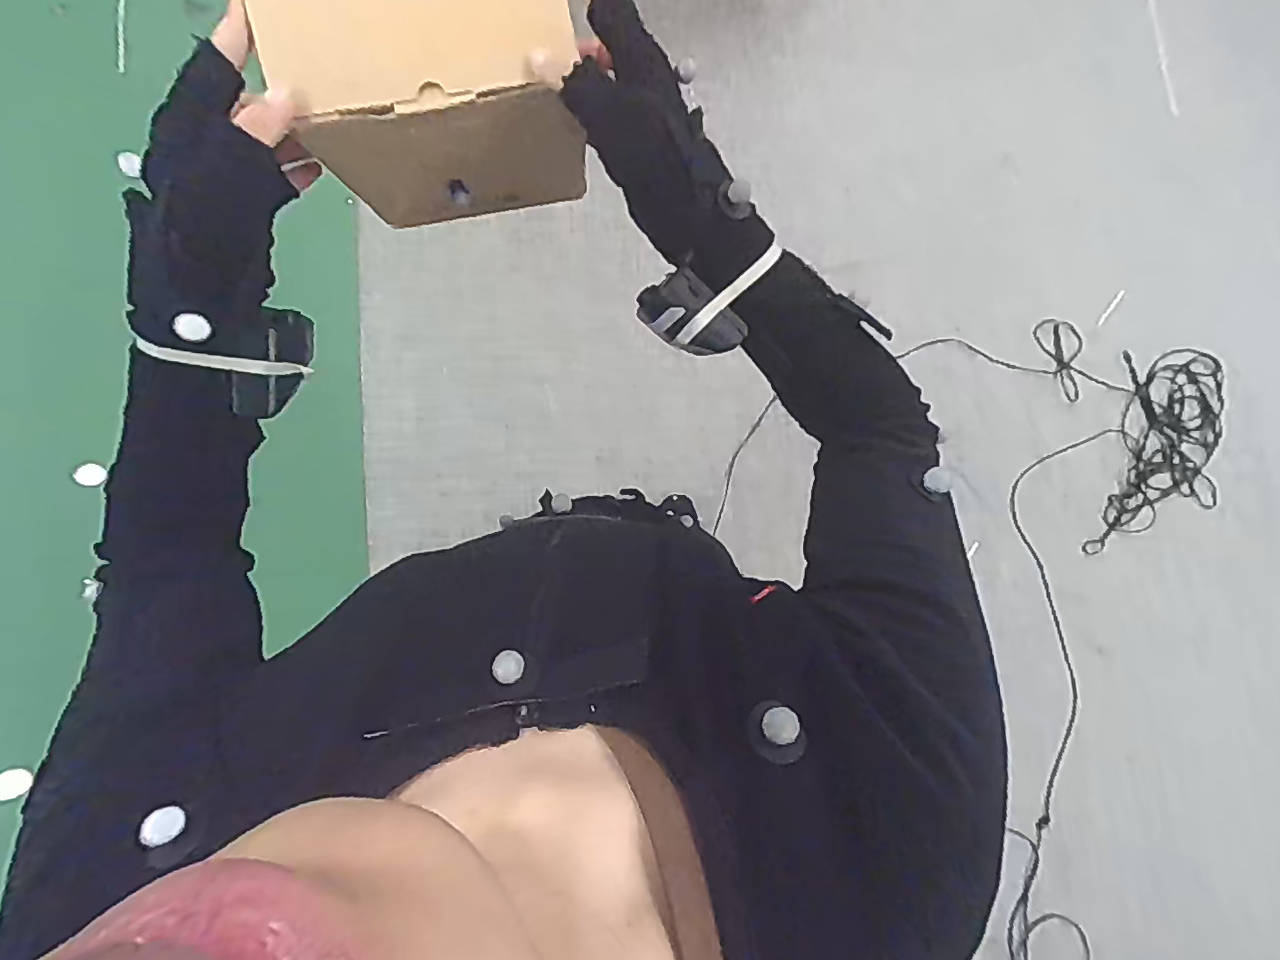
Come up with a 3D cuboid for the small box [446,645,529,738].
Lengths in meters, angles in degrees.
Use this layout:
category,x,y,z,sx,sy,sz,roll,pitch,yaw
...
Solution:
category,x,y,z,sx,sy,sz,roll,pitch,yaw
small box,-0.375,0.517,1.348,0.168,0.176,0.179,-6,84,-3
